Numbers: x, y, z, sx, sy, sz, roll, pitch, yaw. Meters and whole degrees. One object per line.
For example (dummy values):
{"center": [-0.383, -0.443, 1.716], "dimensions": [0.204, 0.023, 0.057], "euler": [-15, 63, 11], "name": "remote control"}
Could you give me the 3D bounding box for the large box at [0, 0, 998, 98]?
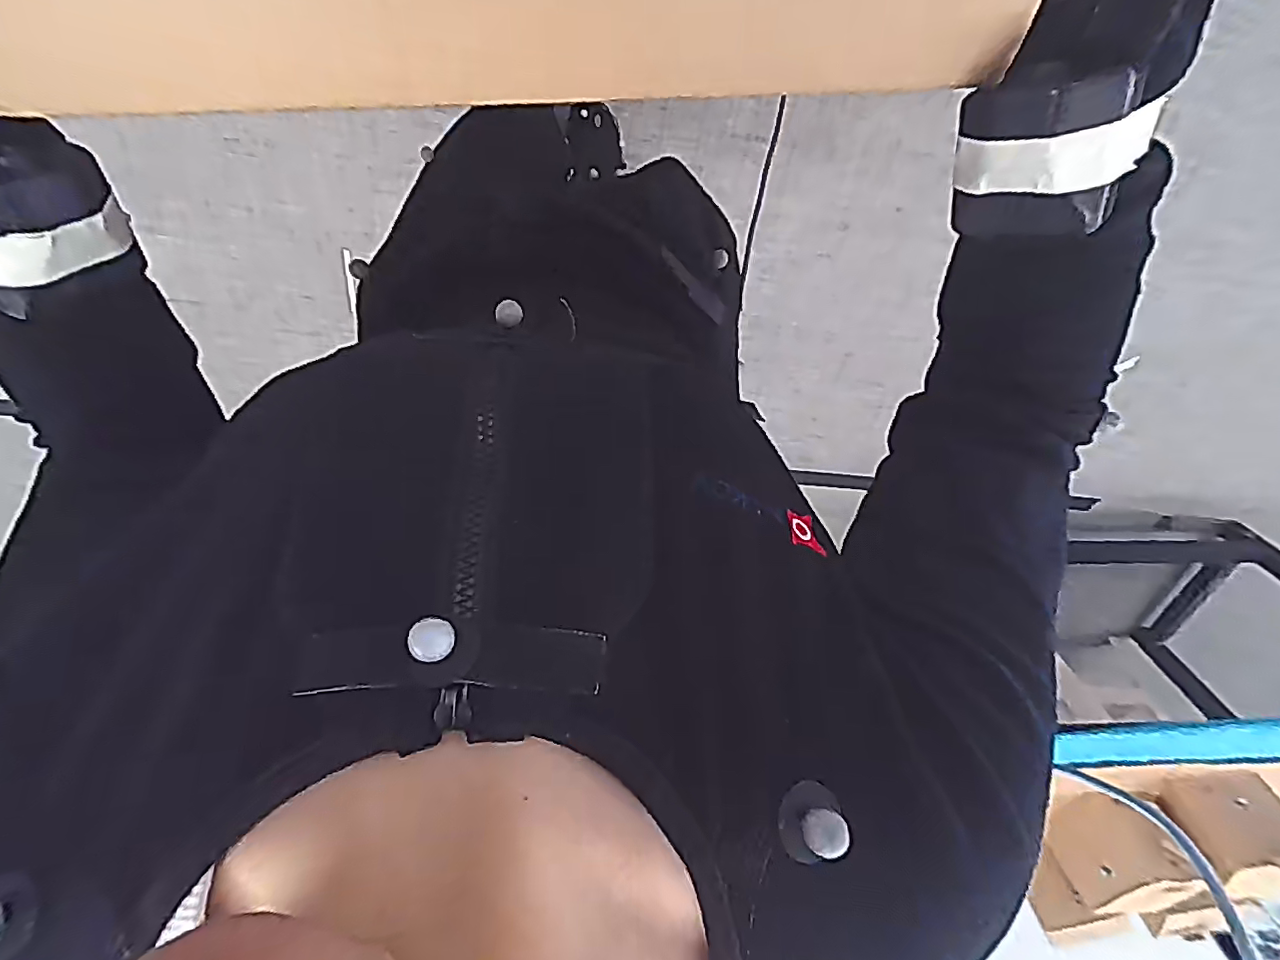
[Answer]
{"center": [-0.065, -0.375, 0.183], "dimensions": [0.408, 0.320, 0.320], "euler": [-4, 144, -3], "name": "large box"}
